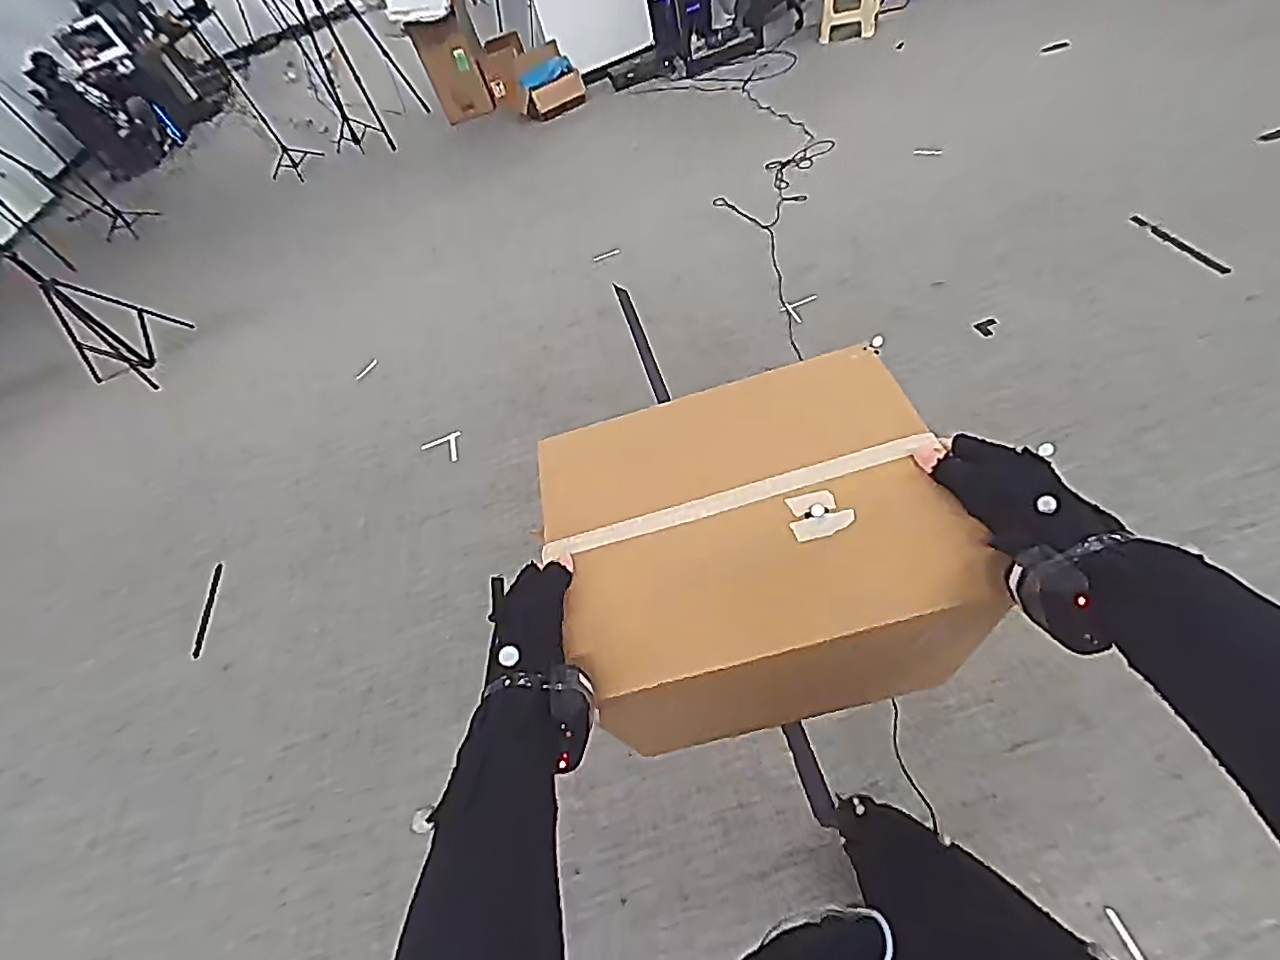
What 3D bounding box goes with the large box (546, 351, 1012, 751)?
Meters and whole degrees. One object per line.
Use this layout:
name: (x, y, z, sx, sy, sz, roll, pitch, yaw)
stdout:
large box: (0.134, 0.105, 0.679, 0.408, 0.320, 0.320, -16, 54, 4)
